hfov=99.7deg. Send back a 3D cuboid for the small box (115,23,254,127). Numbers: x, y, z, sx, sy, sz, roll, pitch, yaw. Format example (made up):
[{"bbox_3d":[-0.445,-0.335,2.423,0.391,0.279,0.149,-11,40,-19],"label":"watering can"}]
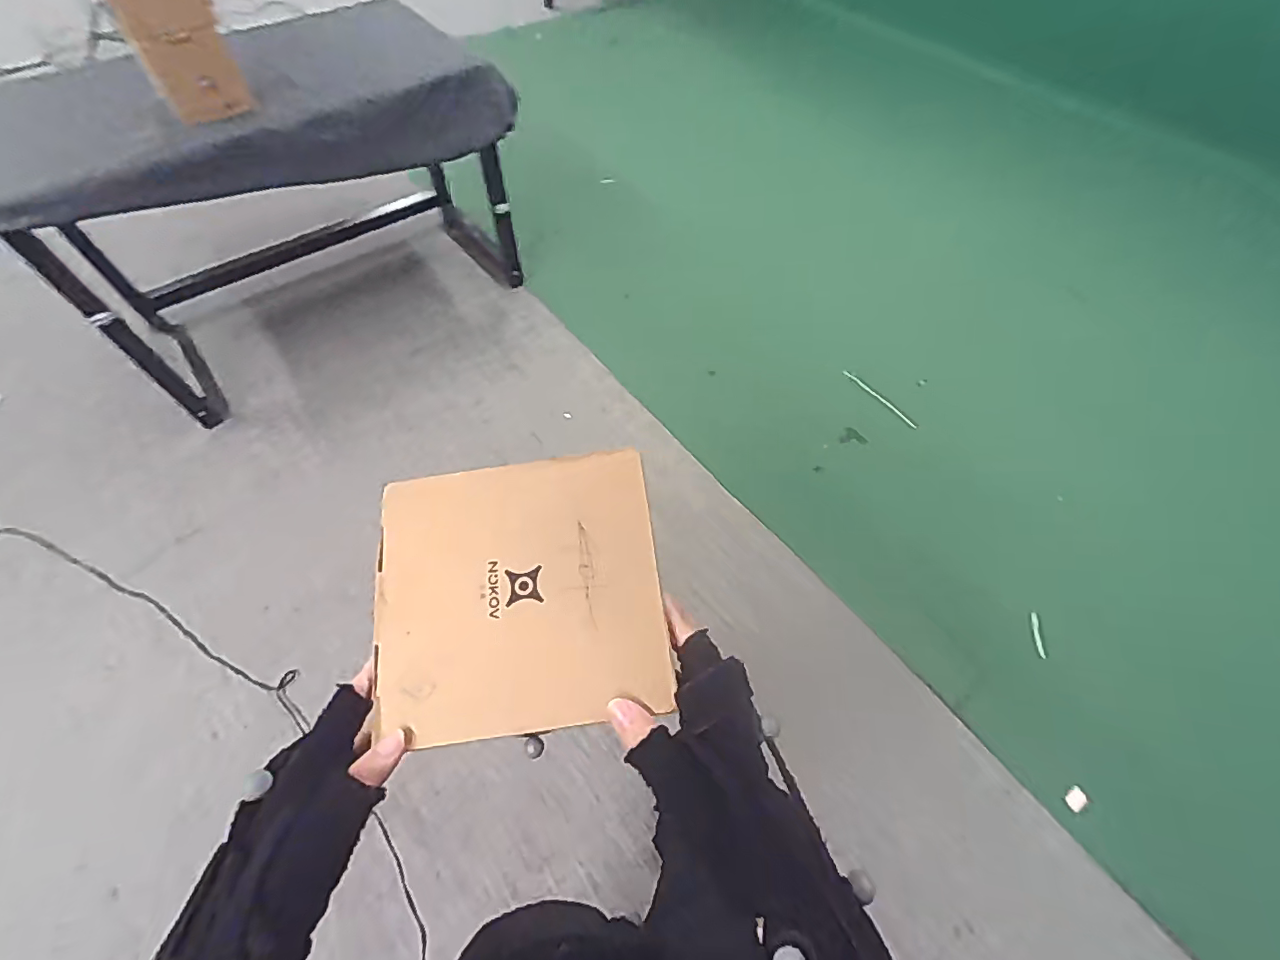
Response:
[{"bbox_3d":[-1.049,-0.955,1.260,0.168,0.176,0.179,-35,65,-21],"label":"small box"}]

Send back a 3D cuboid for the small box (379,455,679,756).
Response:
[{"bbox_3d":[-0.073,0.100,0.410,0.179,0.176,0.168,-9,69,-3],"label":"small box"}]

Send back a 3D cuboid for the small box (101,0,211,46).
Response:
[{"bbox_3d":[-1.039,-1.045,1.122,0.179,0.176,0.168,-34,64,-19],"label":"small box"}]
